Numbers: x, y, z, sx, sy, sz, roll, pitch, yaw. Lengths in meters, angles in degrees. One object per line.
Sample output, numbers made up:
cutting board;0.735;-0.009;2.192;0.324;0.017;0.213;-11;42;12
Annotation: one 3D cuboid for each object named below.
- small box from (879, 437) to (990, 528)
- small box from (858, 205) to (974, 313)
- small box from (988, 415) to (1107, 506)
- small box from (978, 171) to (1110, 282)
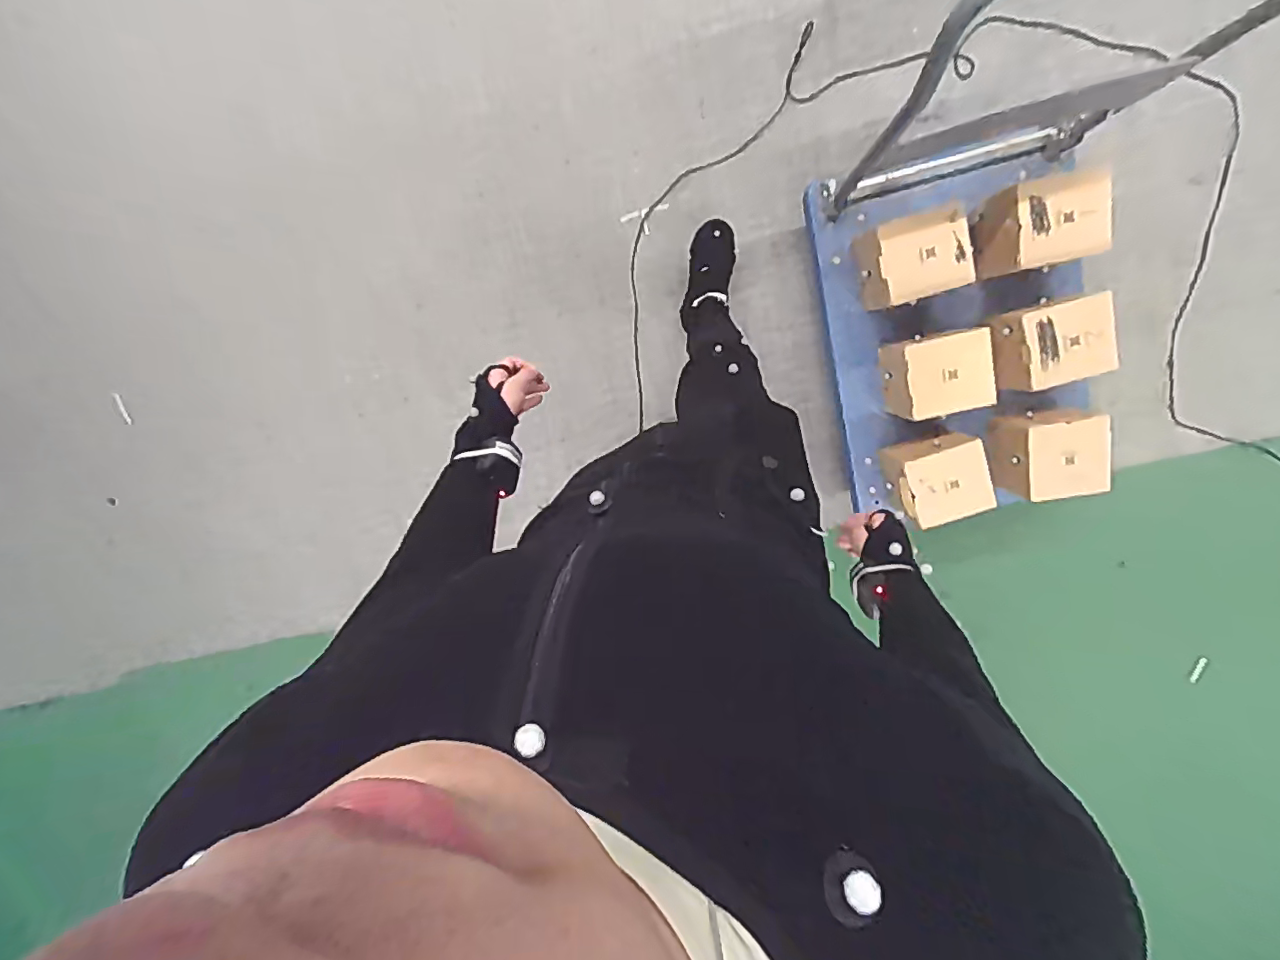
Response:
small box;0.698;0.000;1.295;0.179;0.176;0.168;-12;100;8
small box;0.594;-0.474;1.188;0.179;0.176;0.168;-14;102;8
small box;0.943;-0.054;1.265;0.168;0.176;0.179;-9;102;8
small box;0.849;-0.529;1.154;0.179;0.176;0.168;-10;103;6
